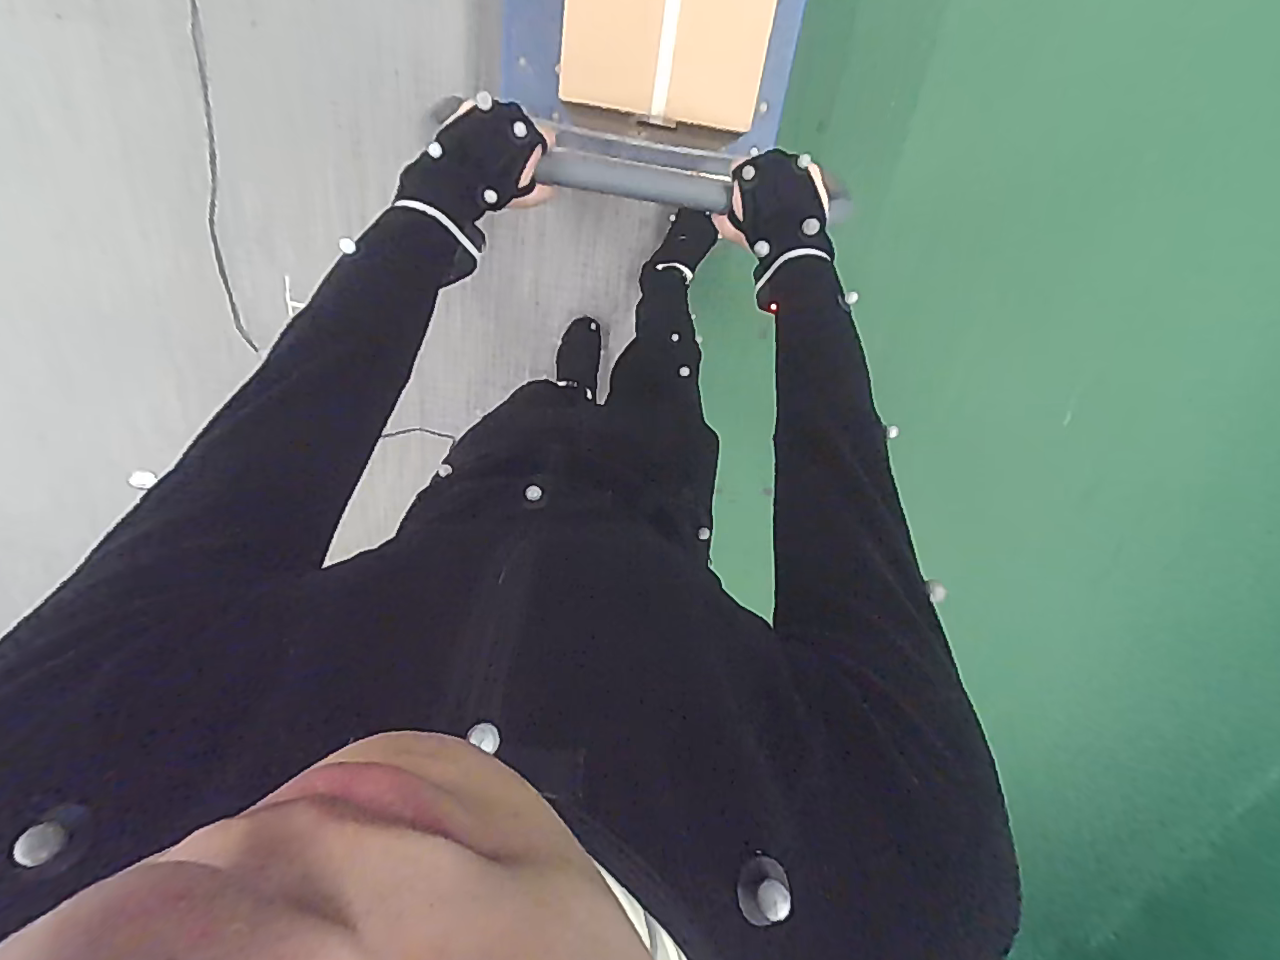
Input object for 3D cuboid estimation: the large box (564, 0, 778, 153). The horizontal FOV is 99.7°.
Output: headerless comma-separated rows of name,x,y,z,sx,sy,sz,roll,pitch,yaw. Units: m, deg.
large box,0.055,-0.821,0.919,0.320,0.320,0.408,7,115,-5
